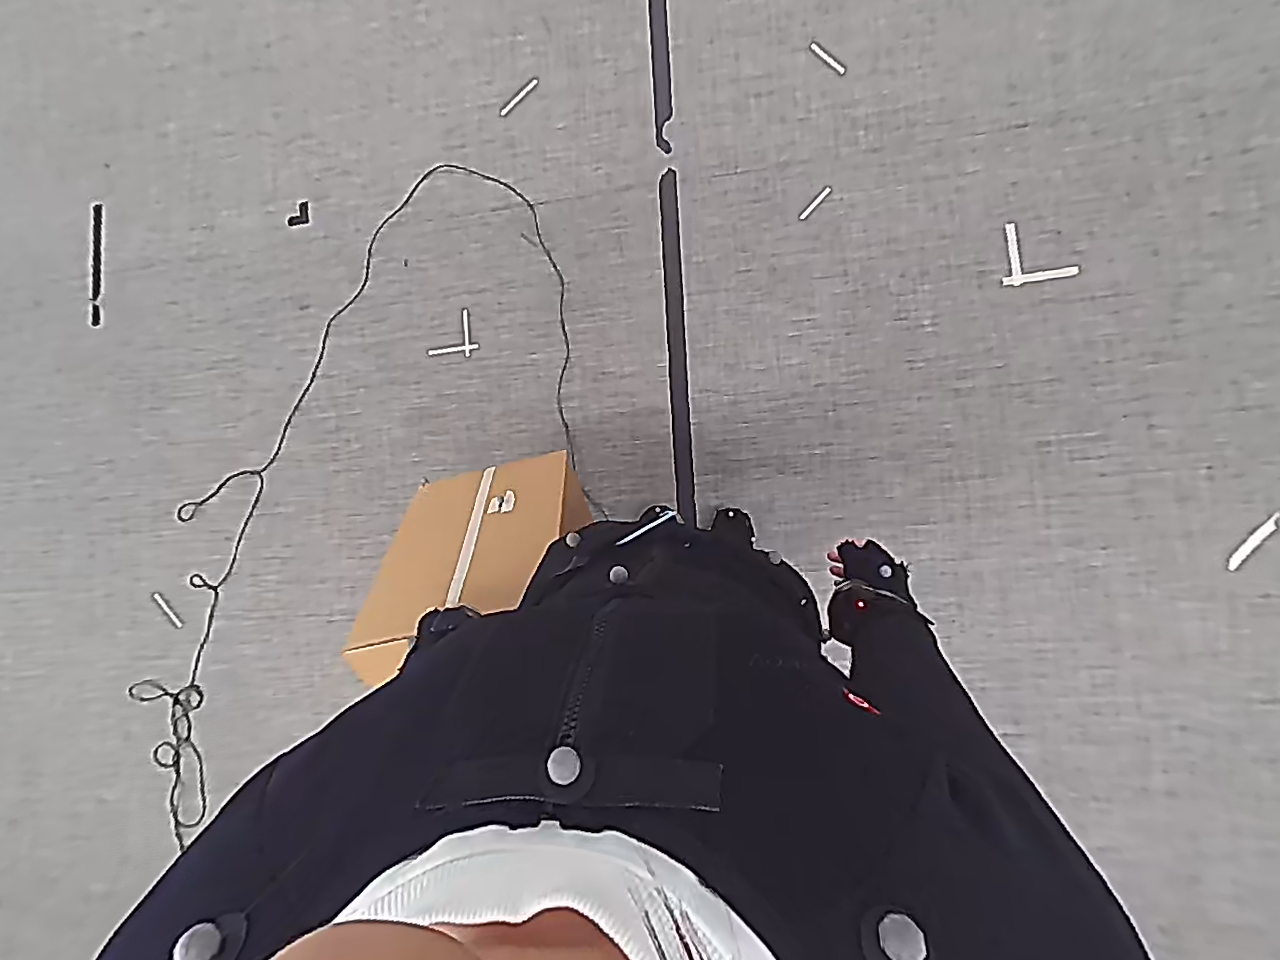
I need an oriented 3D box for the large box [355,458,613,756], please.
[{"bbox_3d":[-0.241,0.218,1.000,0.320,0.408,0.320,-12,124,4],"label":"large box"}]
